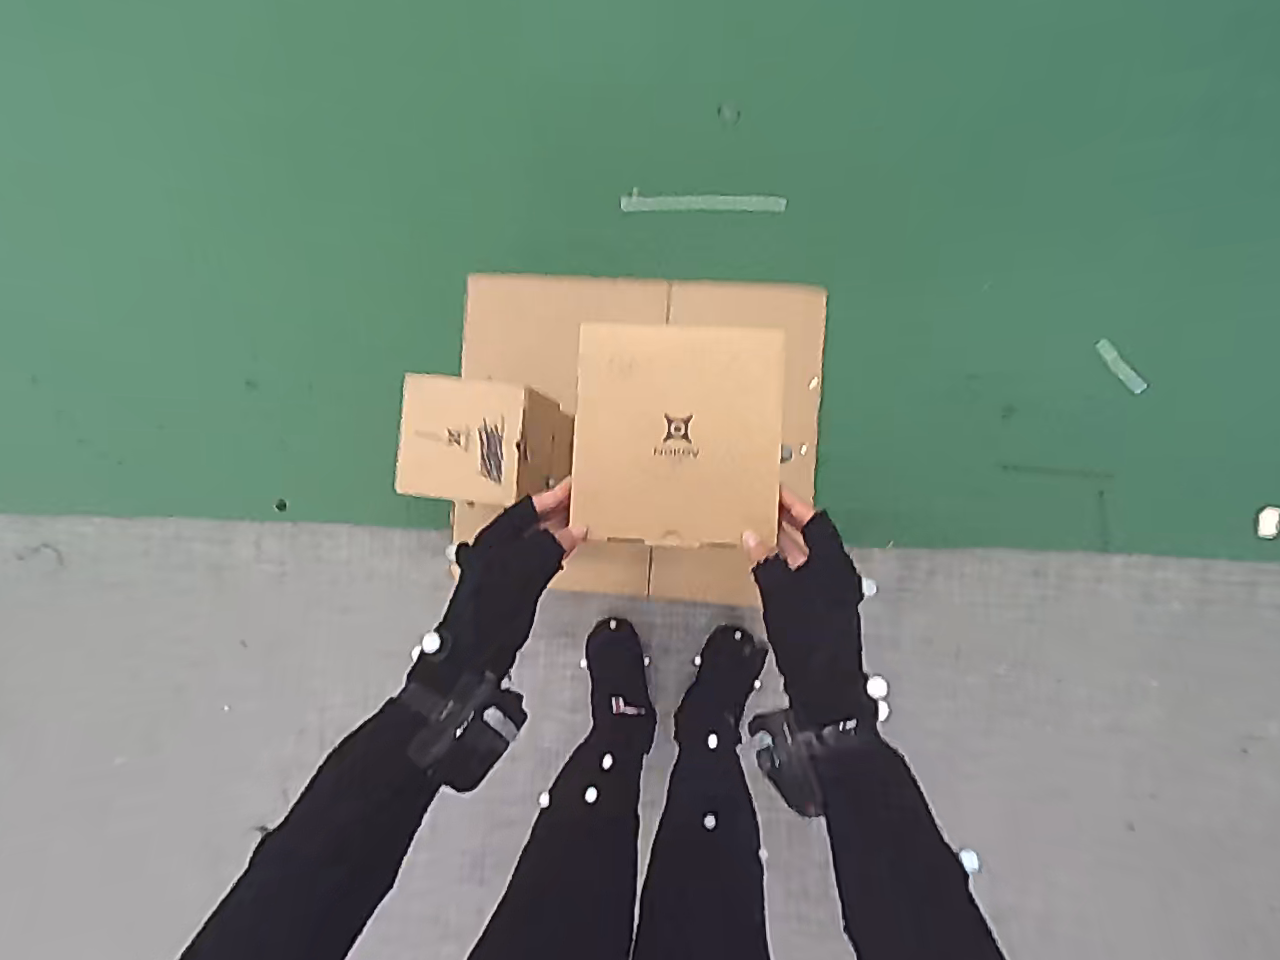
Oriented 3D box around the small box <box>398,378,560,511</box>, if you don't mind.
[{"bbox_3d":[-0.229,-0.050,0.809,0.179,0.176,0.168,7,91,8],"label":"small box"}]
